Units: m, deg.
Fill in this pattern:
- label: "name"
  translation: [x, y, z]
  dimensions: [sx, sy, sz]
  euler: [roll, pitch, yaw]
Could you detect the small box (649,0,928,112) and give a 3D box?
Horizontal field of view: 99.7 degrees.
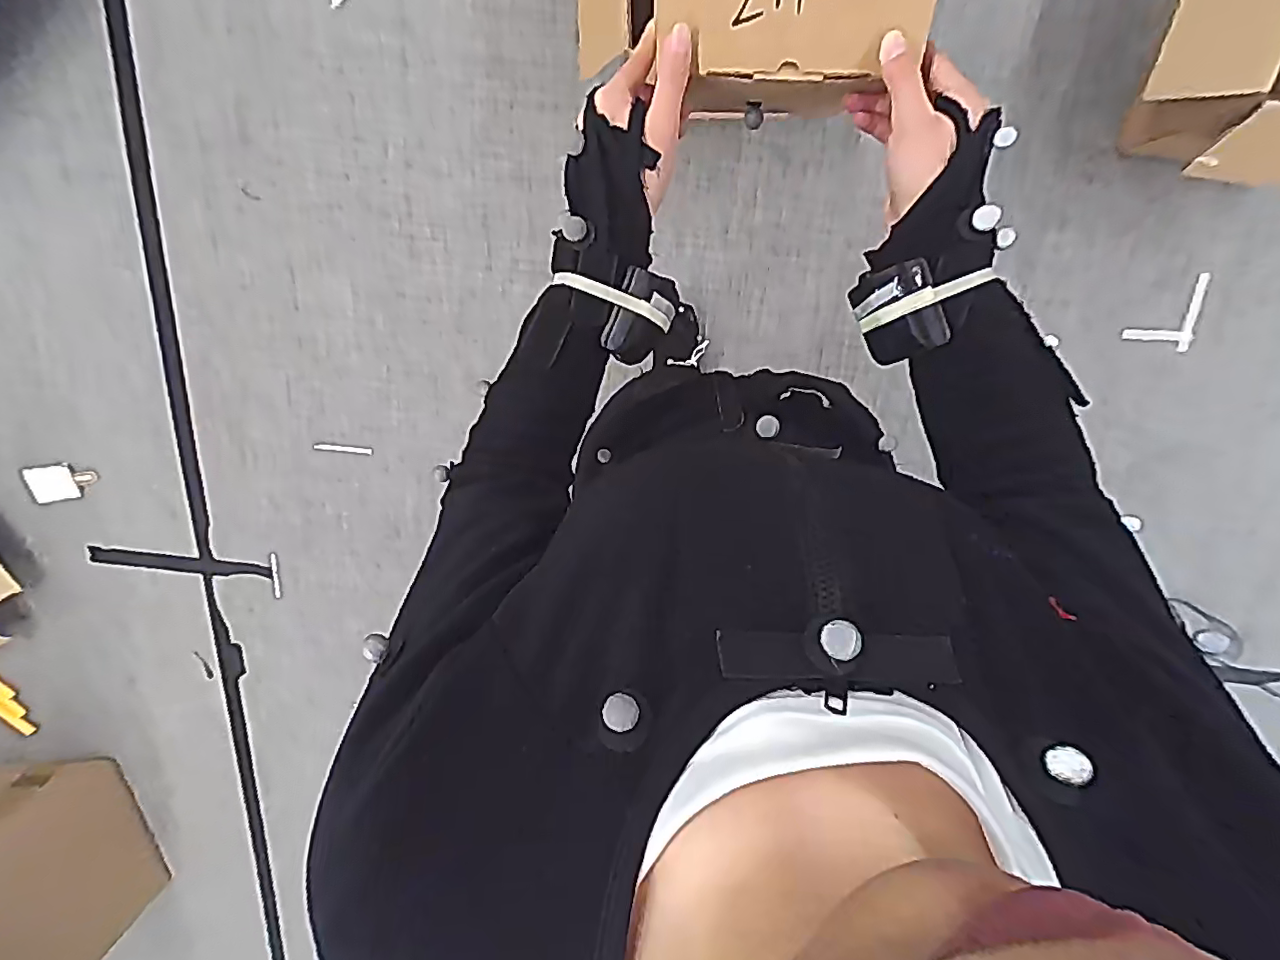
- label: "small box"
  translation: [0.092, -0.370, 0.369]
  dimensions: [0.168, 0.176, 0.179]
  euler: [1, 119, 0]
